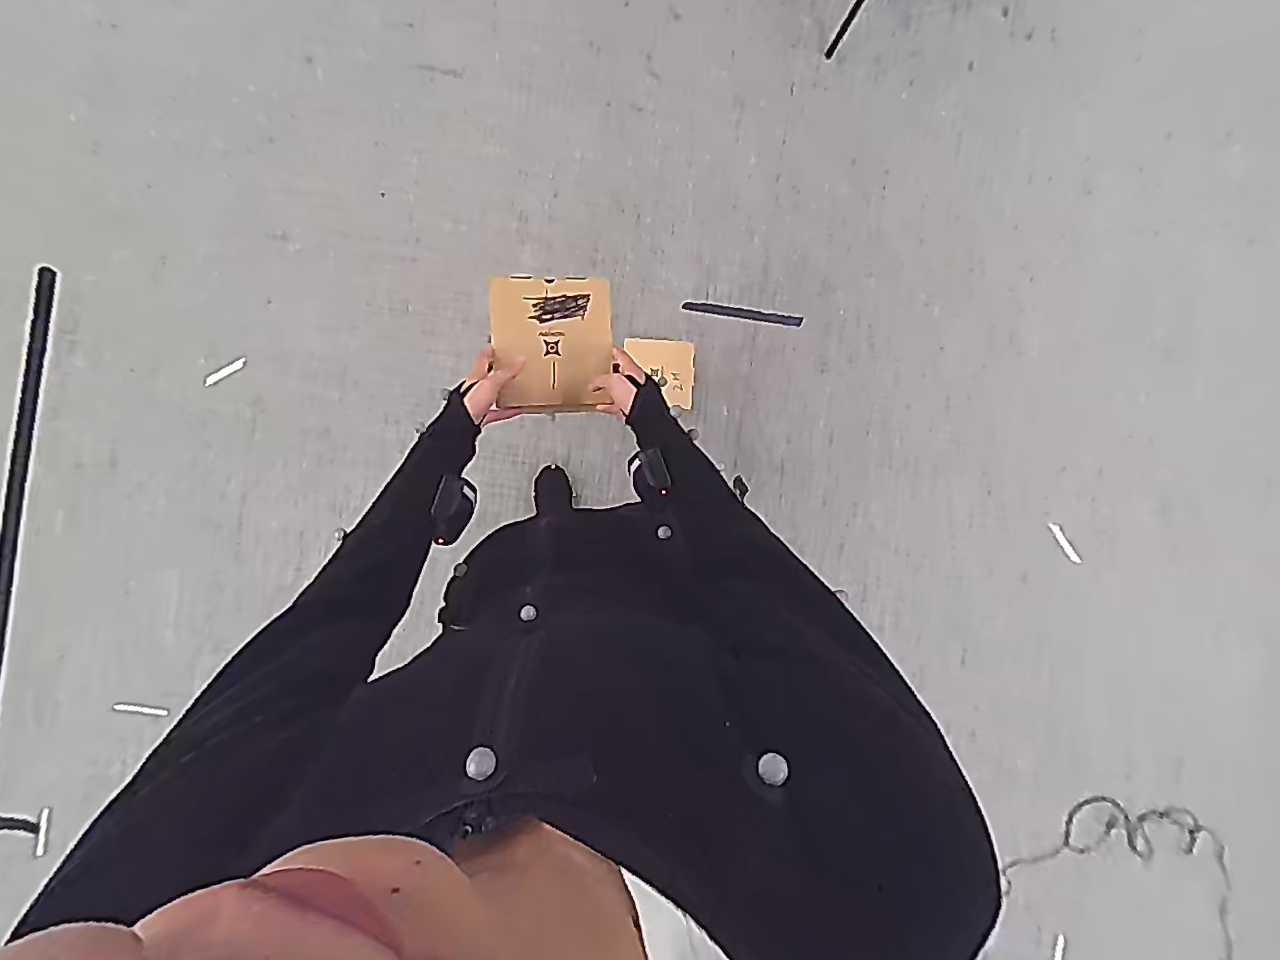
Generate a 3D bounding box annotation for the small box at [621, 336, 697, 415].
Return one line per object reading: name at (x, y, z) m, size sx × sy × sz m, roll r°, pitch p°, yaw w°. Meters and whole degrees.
small box at (0.045, -0.262, 1.390) m, size 0.179 × 0.176 × 0.168 m, roll 4°, pitch 91°, yaw -2°

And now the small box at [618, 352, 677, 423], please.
small box at (0.025, -0.264, 1.553) m, size 0.168 × 0.176 × 0.179 m, roll 5°, pitch 92°, yaw -2°

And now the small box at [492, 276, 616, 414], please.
small box at (-0.131, -0.194, 0.817) m, size 0.168 × 0.176 × 0.179 m, roll -3°, pitch 95°, yaw -10°
